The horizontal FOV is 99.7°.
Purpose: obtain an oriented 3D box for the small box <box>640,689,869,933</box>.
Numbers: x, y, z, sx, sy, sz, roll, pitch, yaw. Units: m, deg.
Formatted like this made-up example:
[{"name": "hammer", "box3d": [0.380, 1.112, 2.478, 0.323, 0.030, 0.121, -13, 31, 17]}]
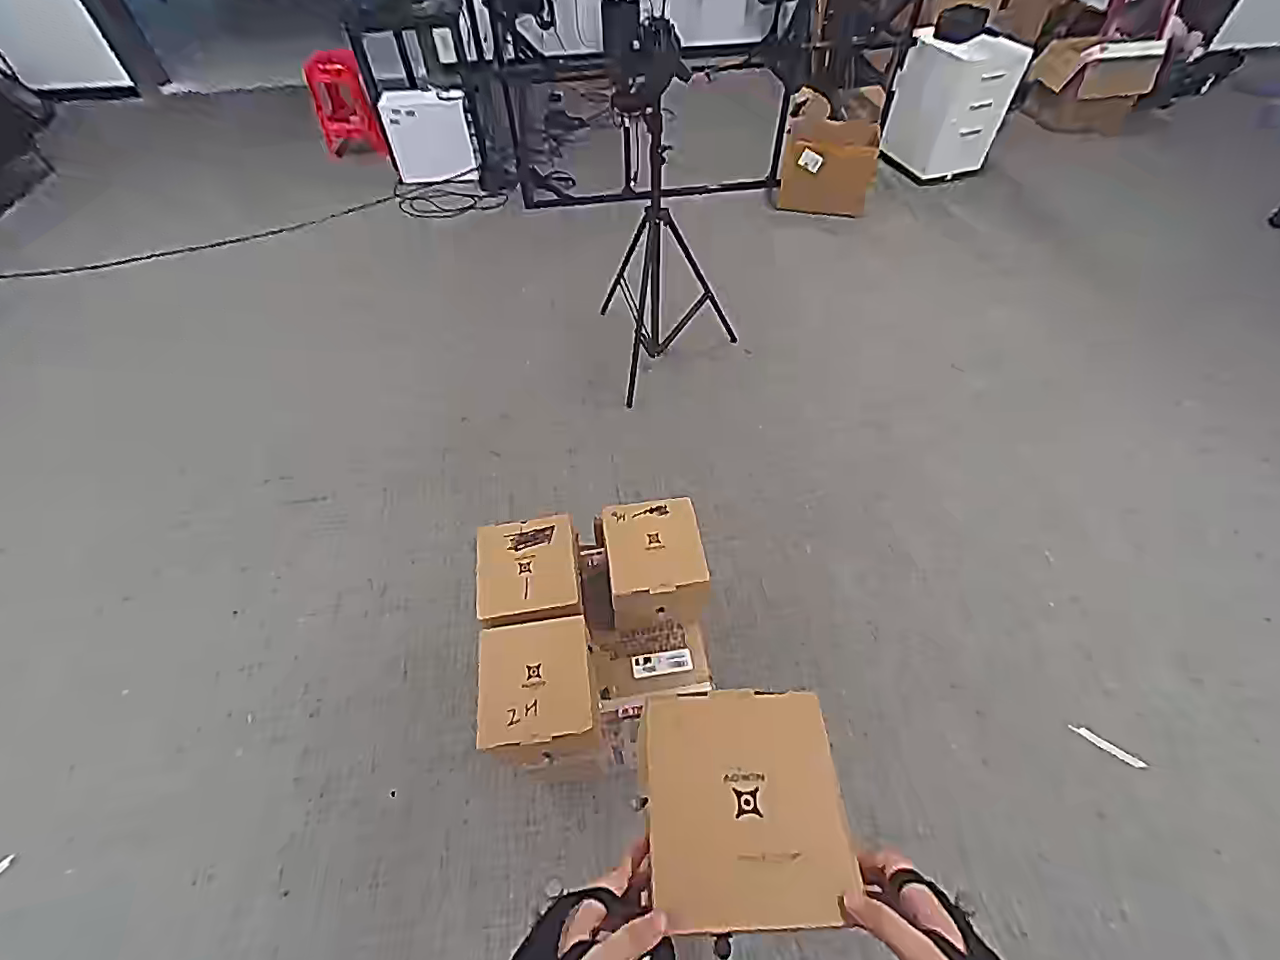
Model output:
[{"name": "small box", "box3d": [0.088, 0.319, 0.521, 0.168, 0.176, 0.179, -1, 50, -3]}]
